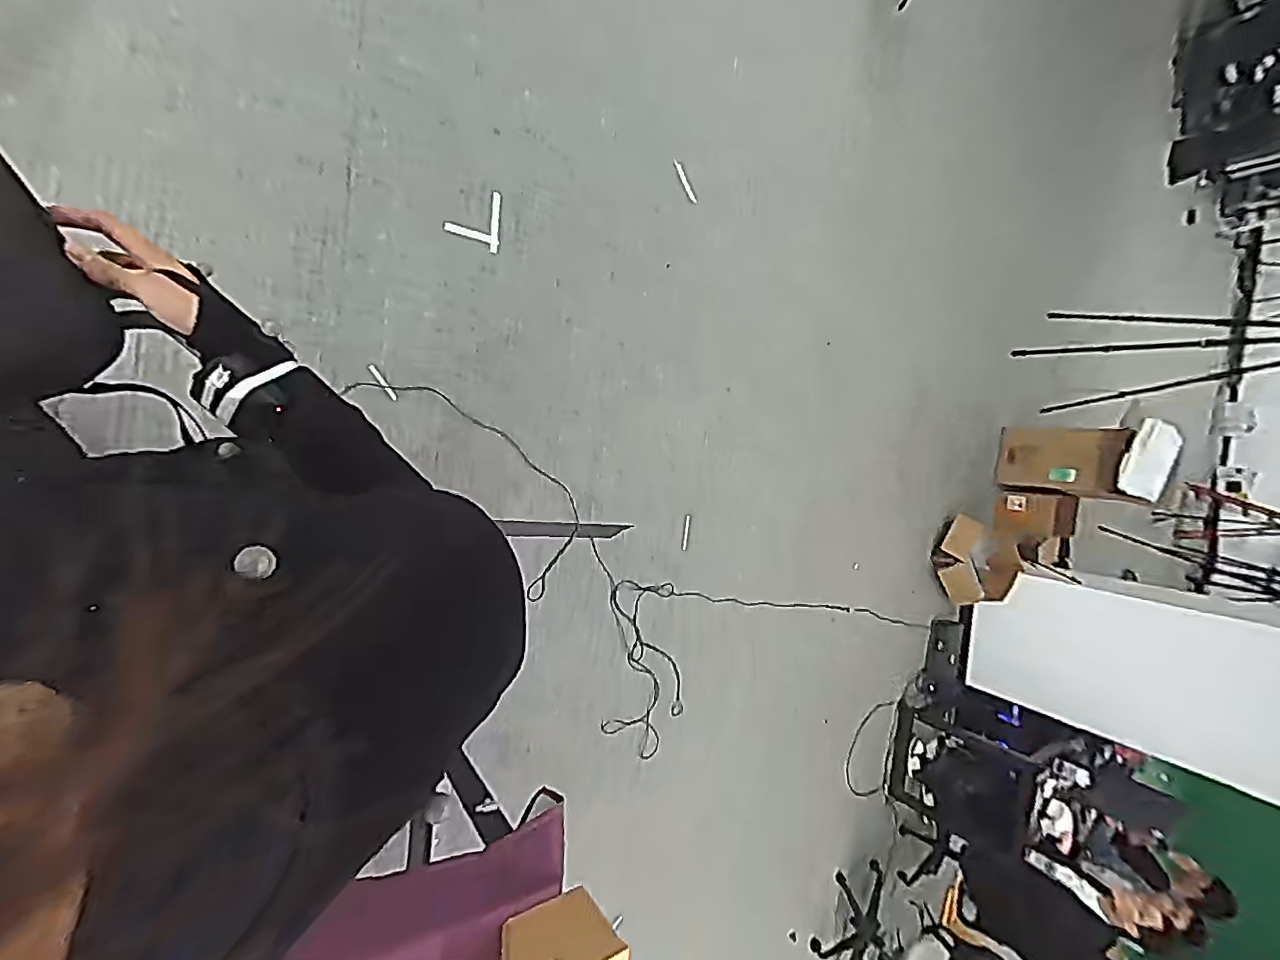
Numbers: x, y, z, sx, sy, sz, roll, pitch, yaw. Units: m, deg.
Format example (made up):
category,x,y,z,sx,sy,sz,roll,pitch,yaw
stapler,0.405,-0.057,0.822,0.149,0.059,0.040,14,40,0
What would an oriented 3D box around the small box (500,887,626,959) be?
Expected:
category,x,y,z,sx,sy,sz,roll,pitch,yaw
small box,-0.147,0.915,1.006,0.179,0.176,0.168,1,96,-35
